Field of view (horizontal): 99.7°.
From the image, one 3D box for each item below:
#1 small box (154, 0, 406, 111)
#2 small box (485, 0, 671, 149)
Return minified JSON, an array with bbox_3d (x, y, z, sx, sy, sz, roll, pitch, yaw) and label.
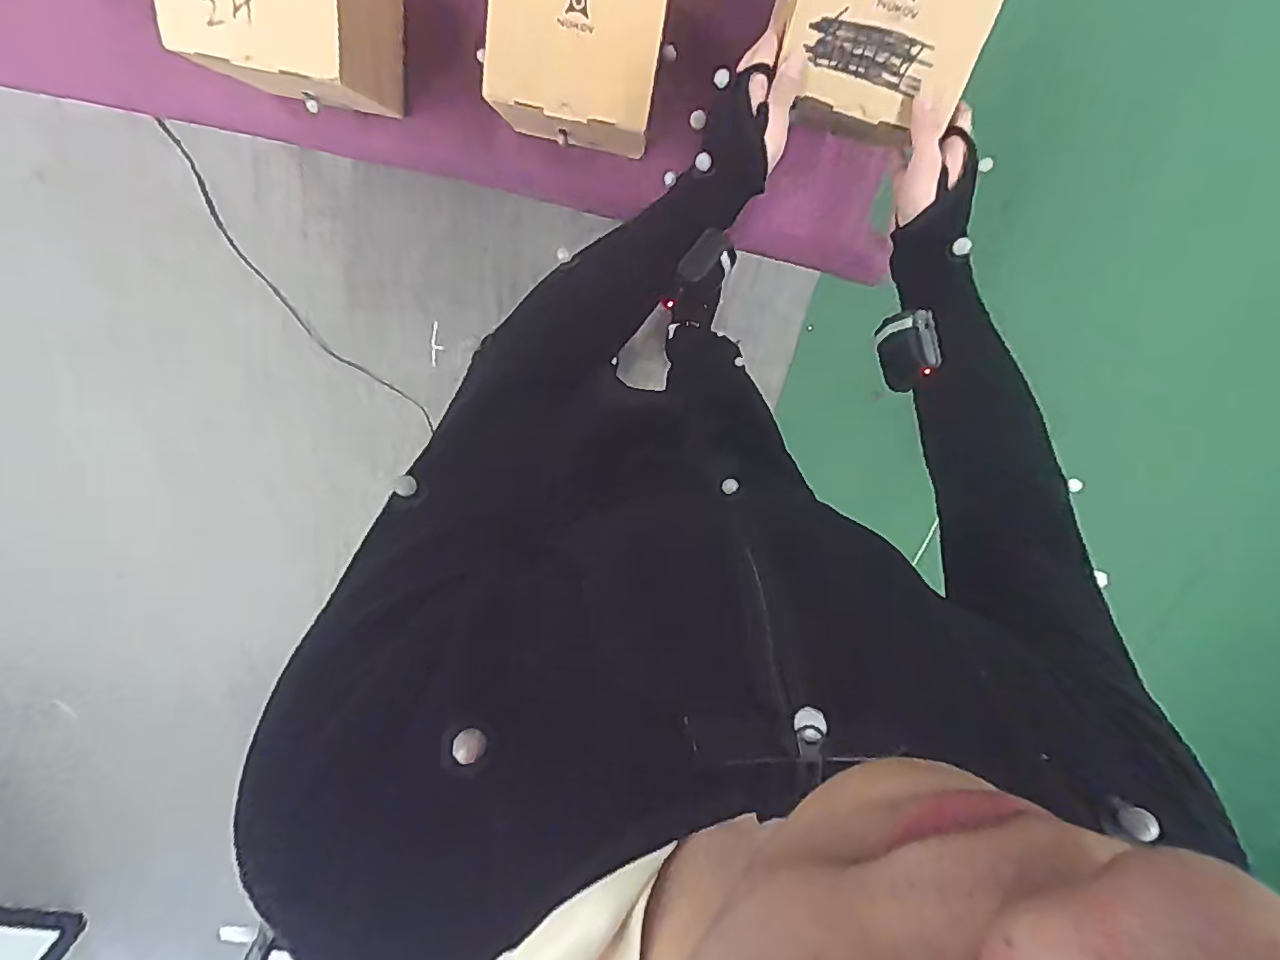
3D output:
[{"bbox_3d":[-0.352,-0.510,0.550,0.168,0.176,0.179,9,114,-5],"label":"small box"},{"bbox_3d":[-0.058,-0.478,0.576,0.168,0.176,0.179,9,115,-6],"label":"small box"}]
